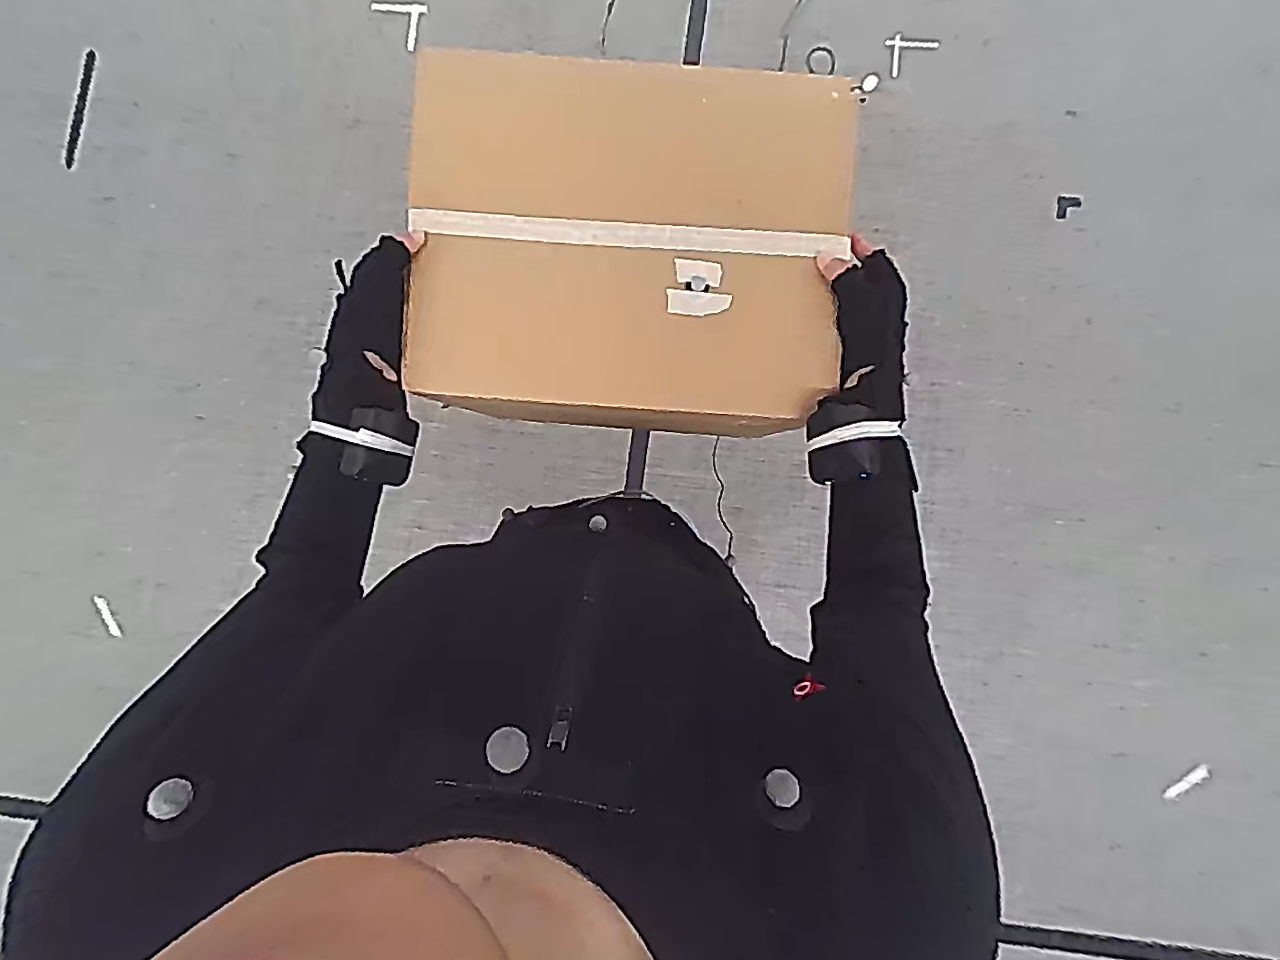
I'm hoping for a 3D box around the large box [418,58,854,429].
[{"bbox_3d":[-0.009,-0.235,0.659,0.408,0.320,0.320,4,93,-1],"label":"large box"}]
